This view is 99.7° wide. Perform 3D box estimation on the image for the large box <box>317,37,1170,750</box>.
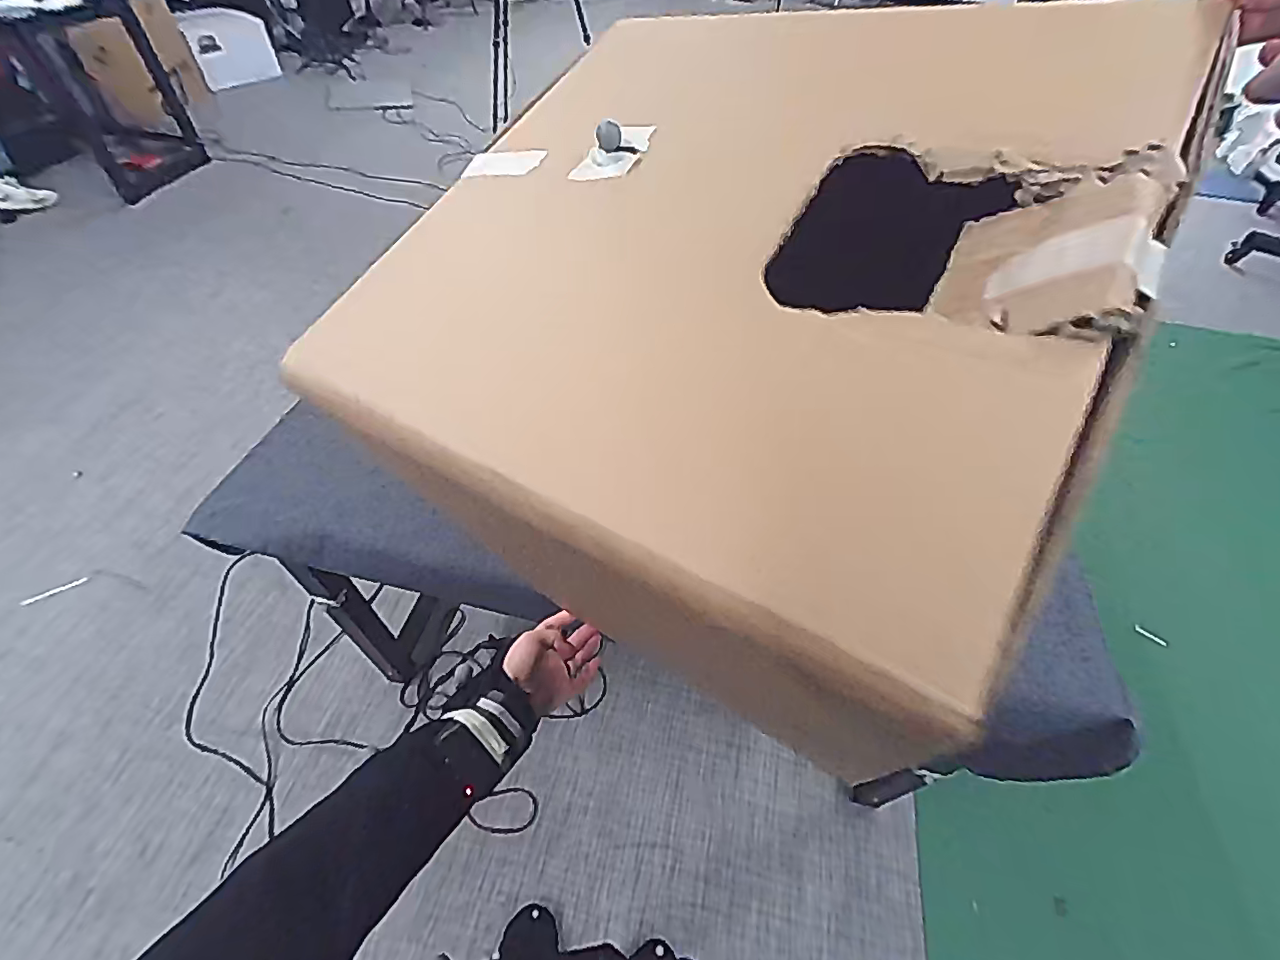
[{"bbox_3d":[0.077,-0.028,0.417,0.320,0.408,0.320,24,70,25],"label":"large box"}]
